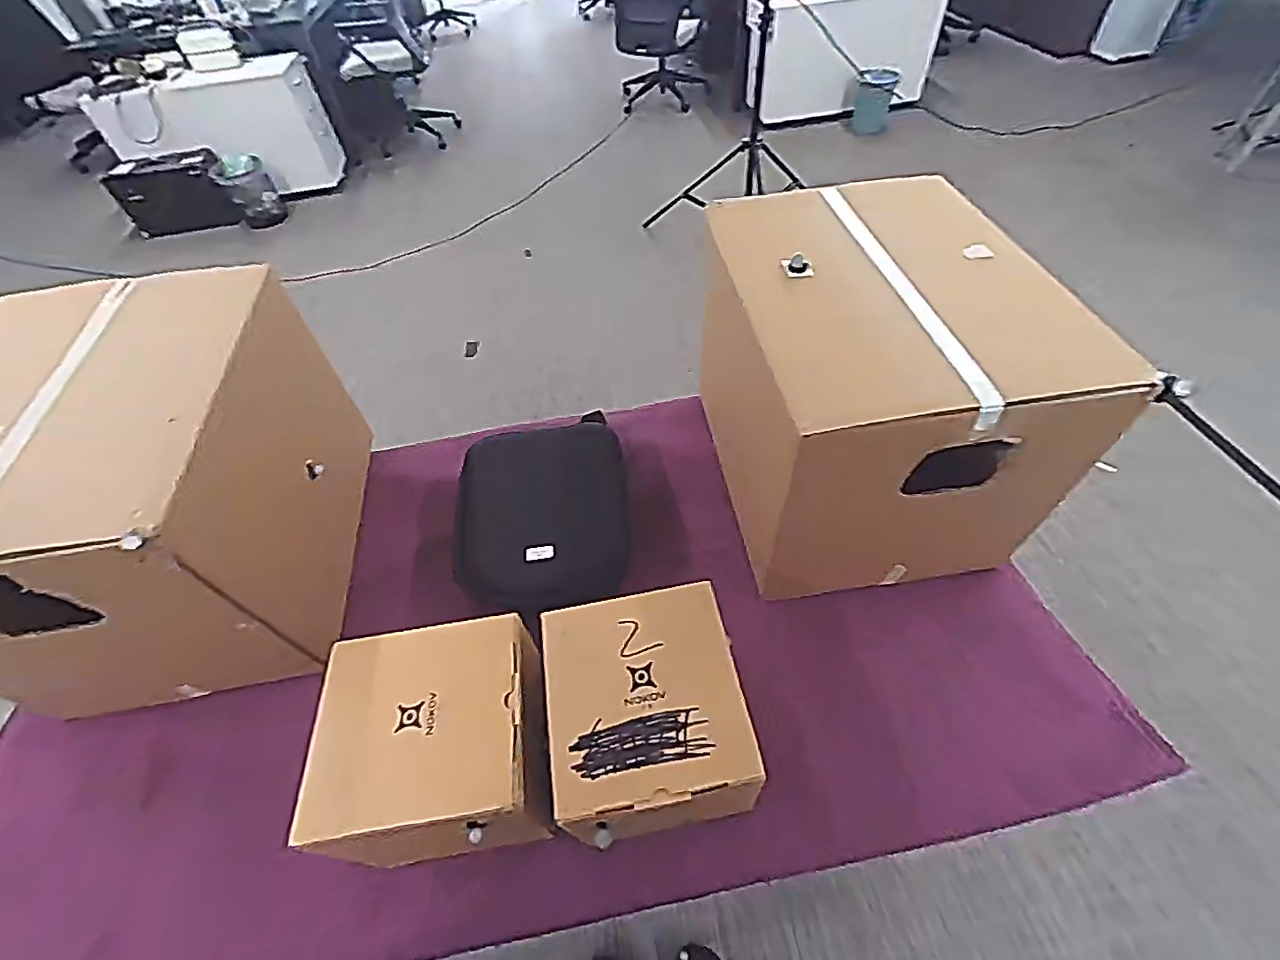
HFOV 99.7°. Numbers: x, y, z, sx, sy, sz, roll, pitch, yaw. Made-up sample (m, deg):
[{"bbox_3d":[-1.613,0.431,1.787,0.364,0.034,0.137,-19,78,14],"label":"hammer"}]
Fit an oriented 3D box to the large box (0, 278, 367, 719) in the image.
[{"bbox_3d":[-0.562,0.018,0.656,0.320,0.320,0.408,-11,54,-5],"label":"large box"}]
